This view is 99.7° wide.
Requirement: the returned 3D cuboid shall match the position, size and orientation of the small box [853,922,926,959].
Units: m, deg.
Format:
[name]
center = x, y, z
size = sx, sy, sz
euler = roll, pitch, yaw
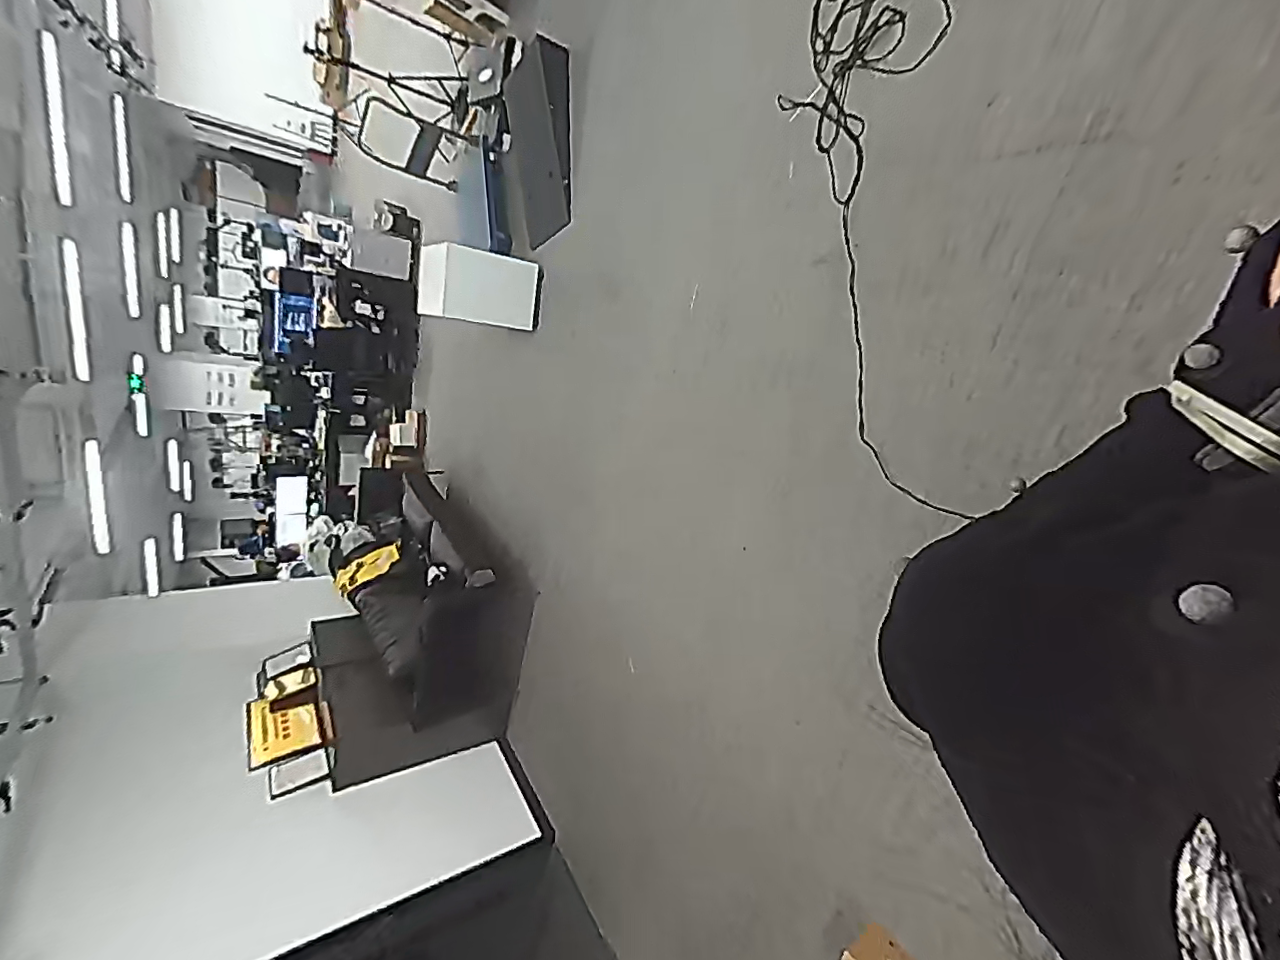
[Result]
[small box]
center = 0.722, 1.436, 1.553
size = 0.168, 0.176, 0.179
euler = 28, 113, 51
